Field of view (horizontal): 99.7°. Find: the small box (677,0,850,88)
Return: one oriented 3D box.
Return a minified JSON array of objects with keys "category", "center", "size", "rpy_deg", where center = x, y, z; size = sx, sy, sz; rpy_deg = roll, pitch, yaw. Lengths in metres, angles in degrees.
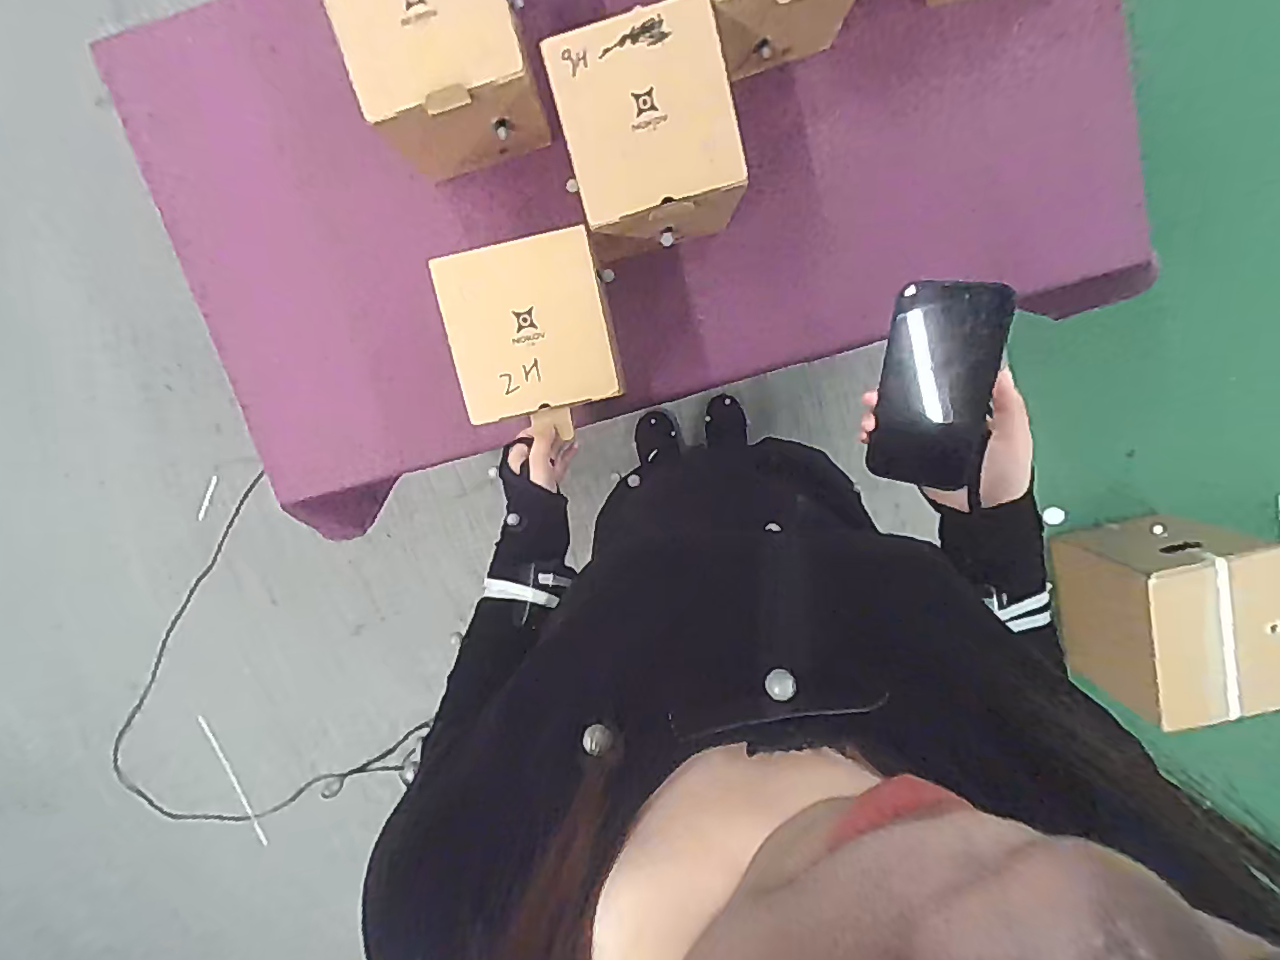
[{"category":"small box","center":[0.123,-0.566,0.564],"size":[0.168,0.176,0.179],"rpy_deg":[-18,101,5]}]

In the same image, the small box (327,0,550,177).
[{"category":"small box","center":[-0.209,-0.460,0.592],"size":[0.168,0.176,0.179],"rpy_deg":[-16,100,3]}]

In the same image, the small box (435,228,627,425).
[{"category":"small box","center":[-0.113,-0.170,0.641],"size":[0.168,0.176,0.179],"rpy_deg":[-12,100,4]}]
